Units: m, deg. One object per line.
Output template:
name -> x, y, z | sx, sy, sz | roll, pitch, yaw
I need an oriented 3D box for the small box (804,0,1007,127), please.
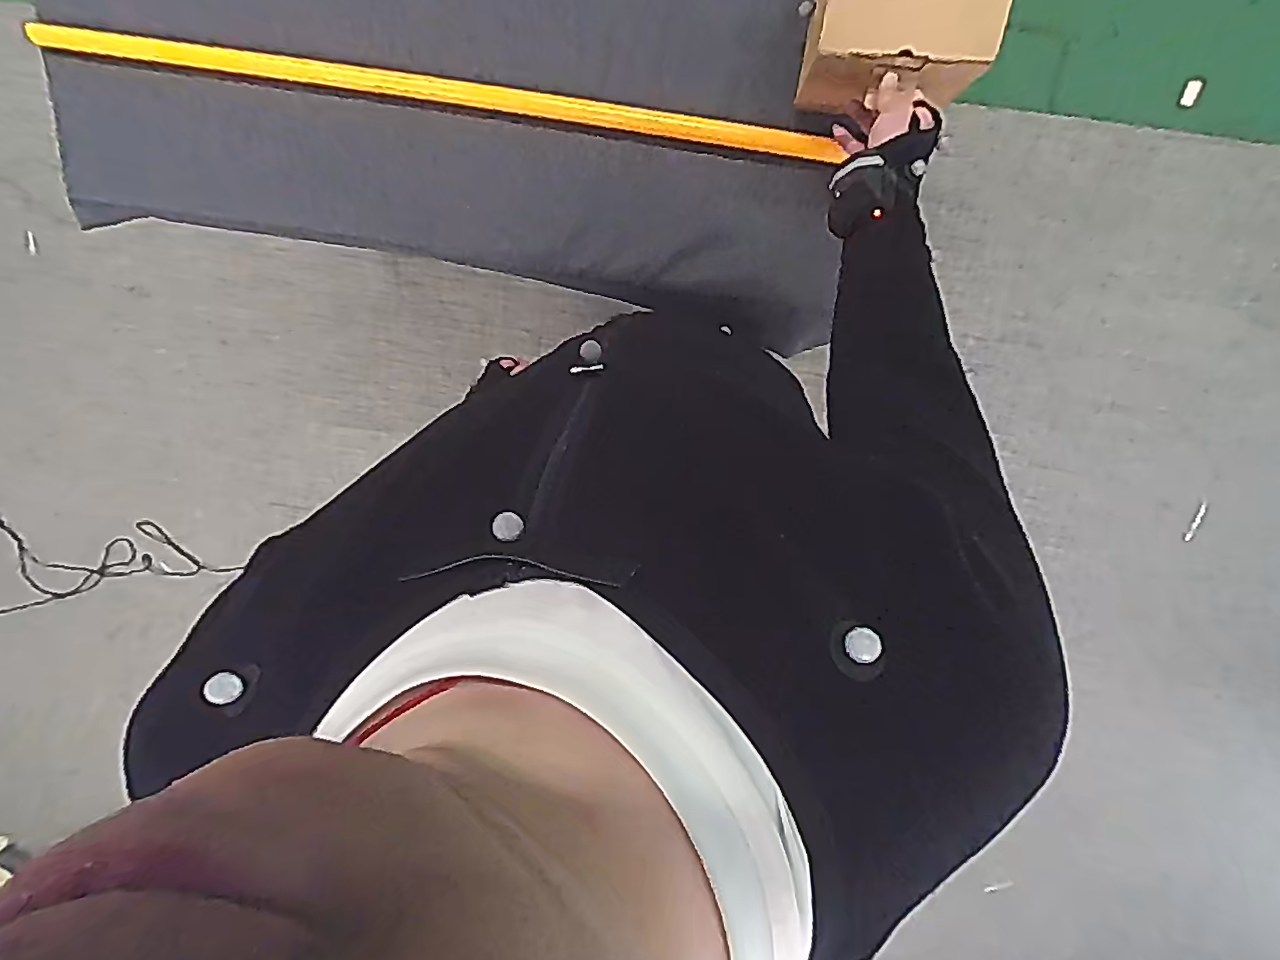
small box -> 0.276, -0.499, 0.579 | 0.168, 0.176, 0.179 | 6, 108, 8
